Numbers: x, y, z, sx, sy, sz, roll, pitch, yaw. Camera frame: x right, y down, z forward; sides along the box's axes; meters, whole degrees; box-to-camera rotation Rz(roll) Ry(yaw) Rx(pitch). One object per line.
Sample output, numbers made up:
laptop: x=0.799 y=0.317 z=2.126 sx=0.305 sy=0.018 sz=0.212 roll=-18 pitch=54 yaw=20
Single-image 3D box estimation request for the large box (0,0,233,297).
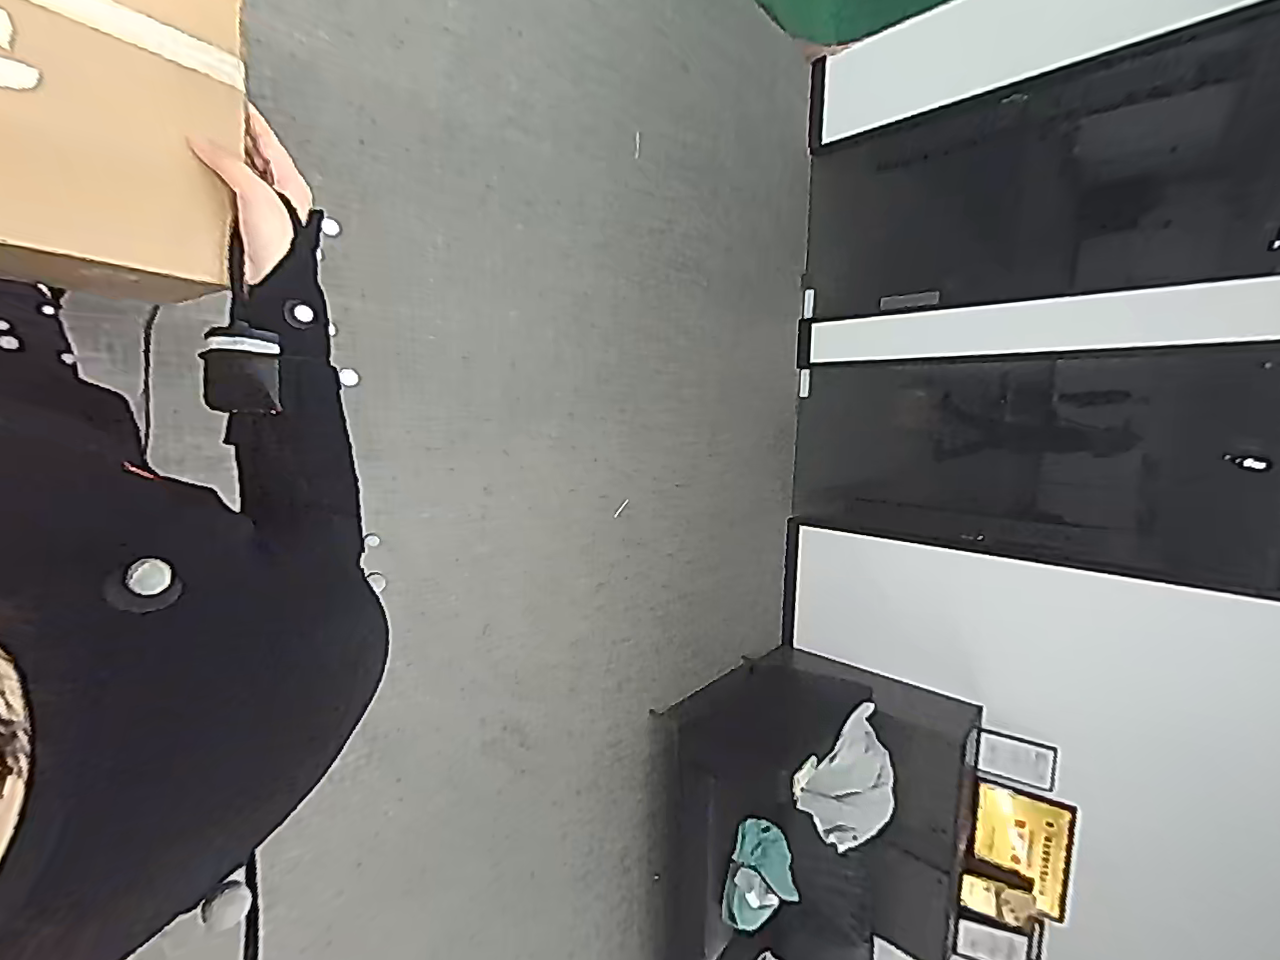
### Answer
large box: x=-0.558 y=-0.325 z=0.359 sx=0.408 sy=0.320 sz=0.320 roll=-3 pitch=103 yaw=-50
